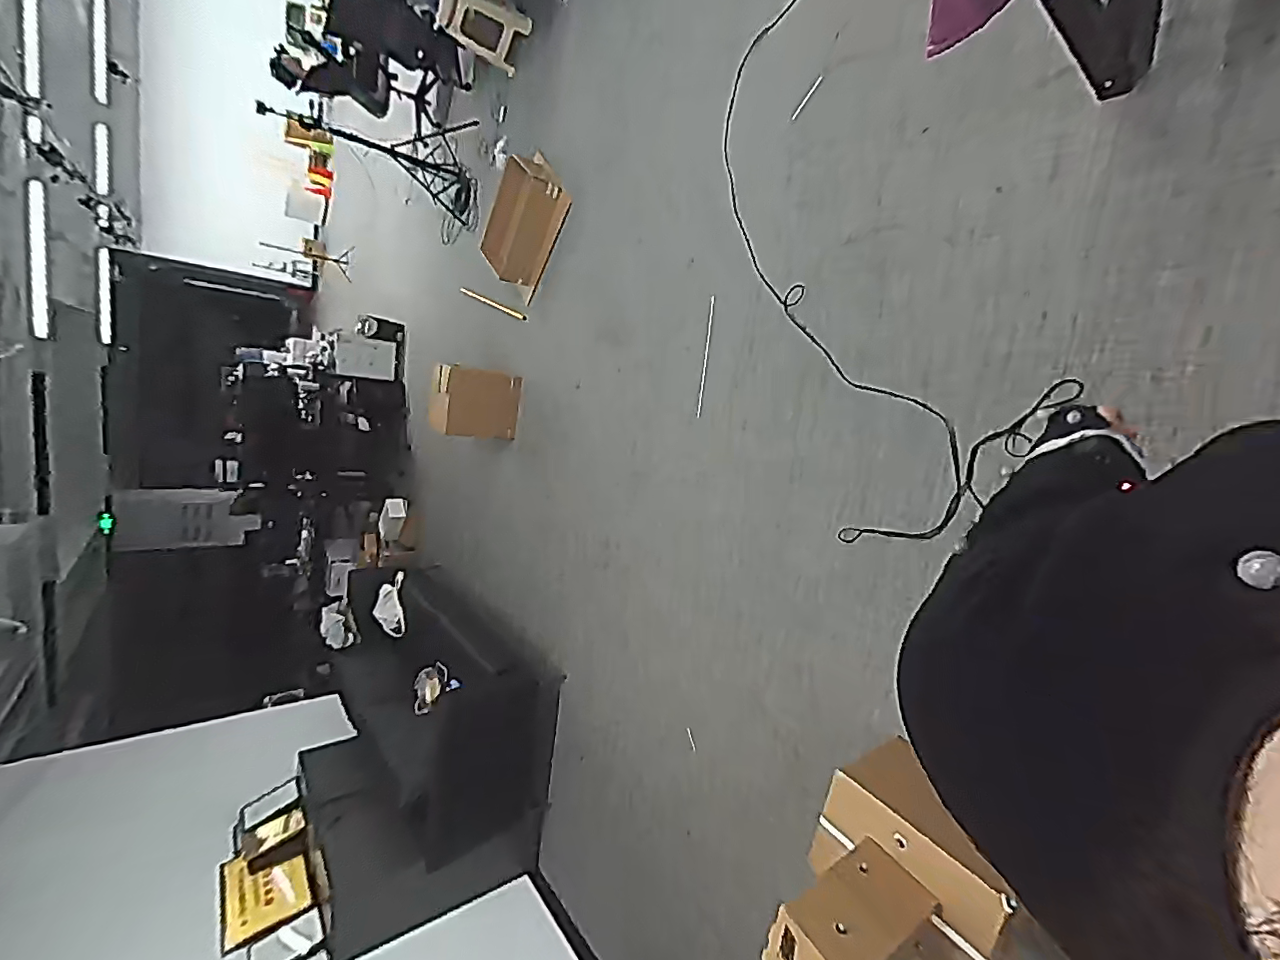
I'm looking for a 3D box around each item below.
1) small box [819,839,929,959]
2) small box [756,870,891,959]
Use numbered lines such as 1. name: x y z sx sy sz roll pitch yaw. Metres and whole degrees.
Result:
1. small box: 0.506 0.953 1.215 0.179 0.176 0.168 29 115 47
2. small box: 0.377 0.953 1.114 0.179 0.176 0.168 31 116 46
